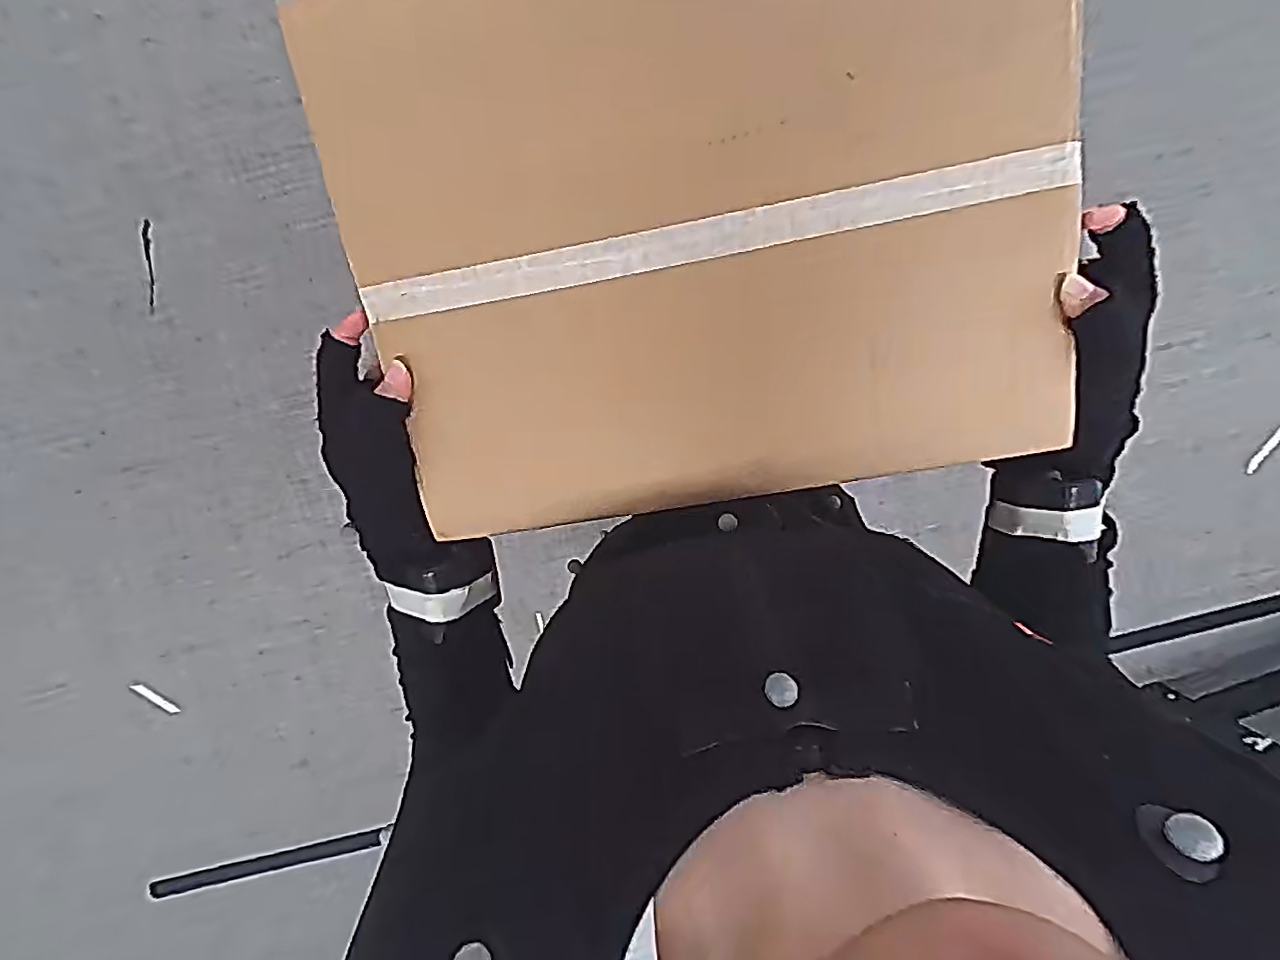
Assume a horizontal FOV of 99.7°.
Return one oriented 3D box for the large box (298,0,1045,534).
[{"bbox_3d":[0.038,-0.180,0.463,0.408,0.320,0.320,-9,104,5],"label":"large box"}]
